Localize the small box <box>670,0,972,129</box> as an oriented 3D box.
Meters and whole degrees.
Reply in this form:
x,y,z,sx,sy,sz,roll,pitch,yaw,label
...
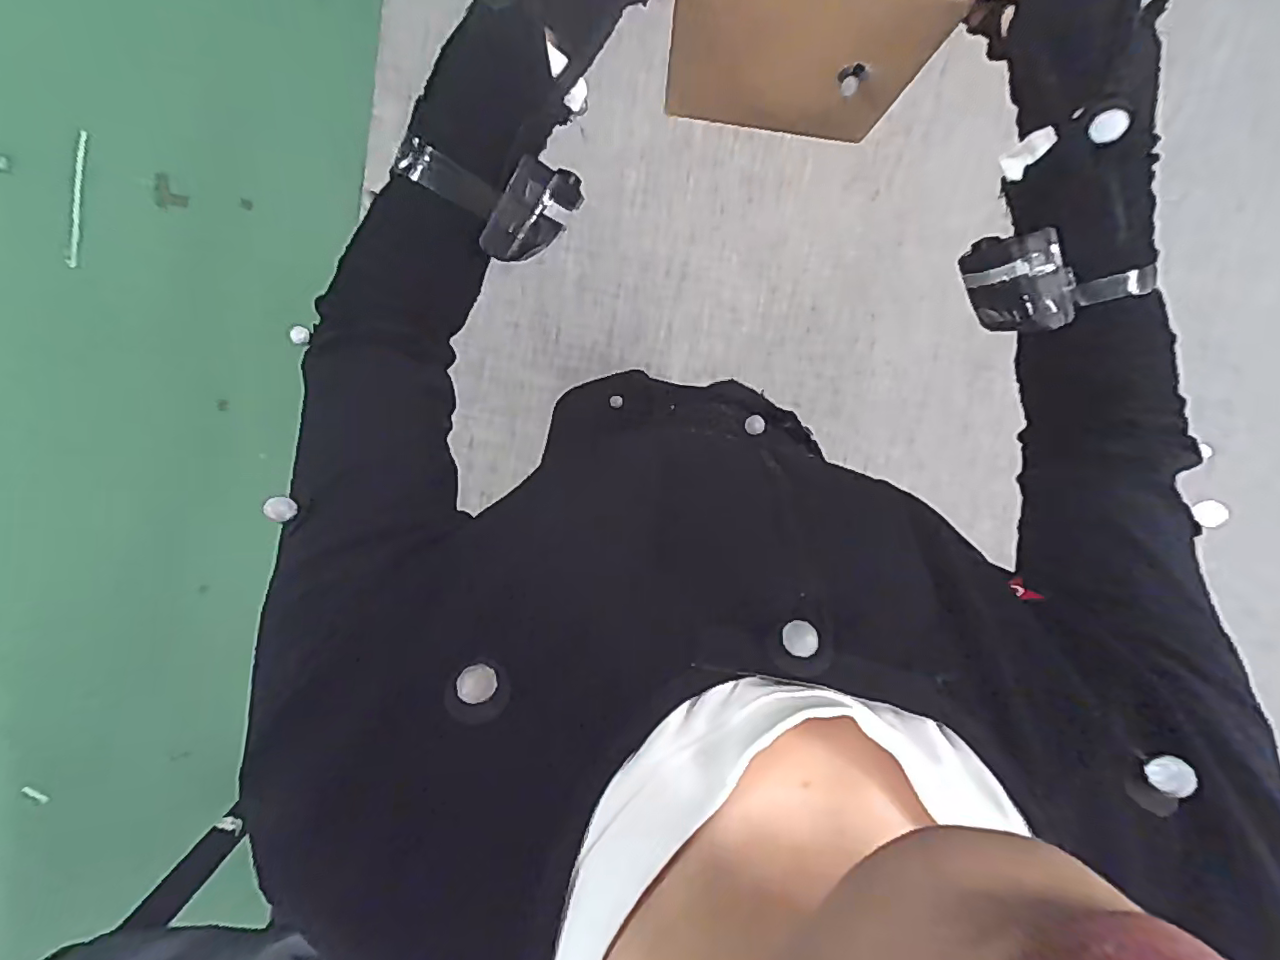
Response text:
x,y,z,sx,sy,sz,roll,pitch,yaw,label
0.121,-0.381,0.380,0.179,0.176,0.168,6,95,-1,small box
